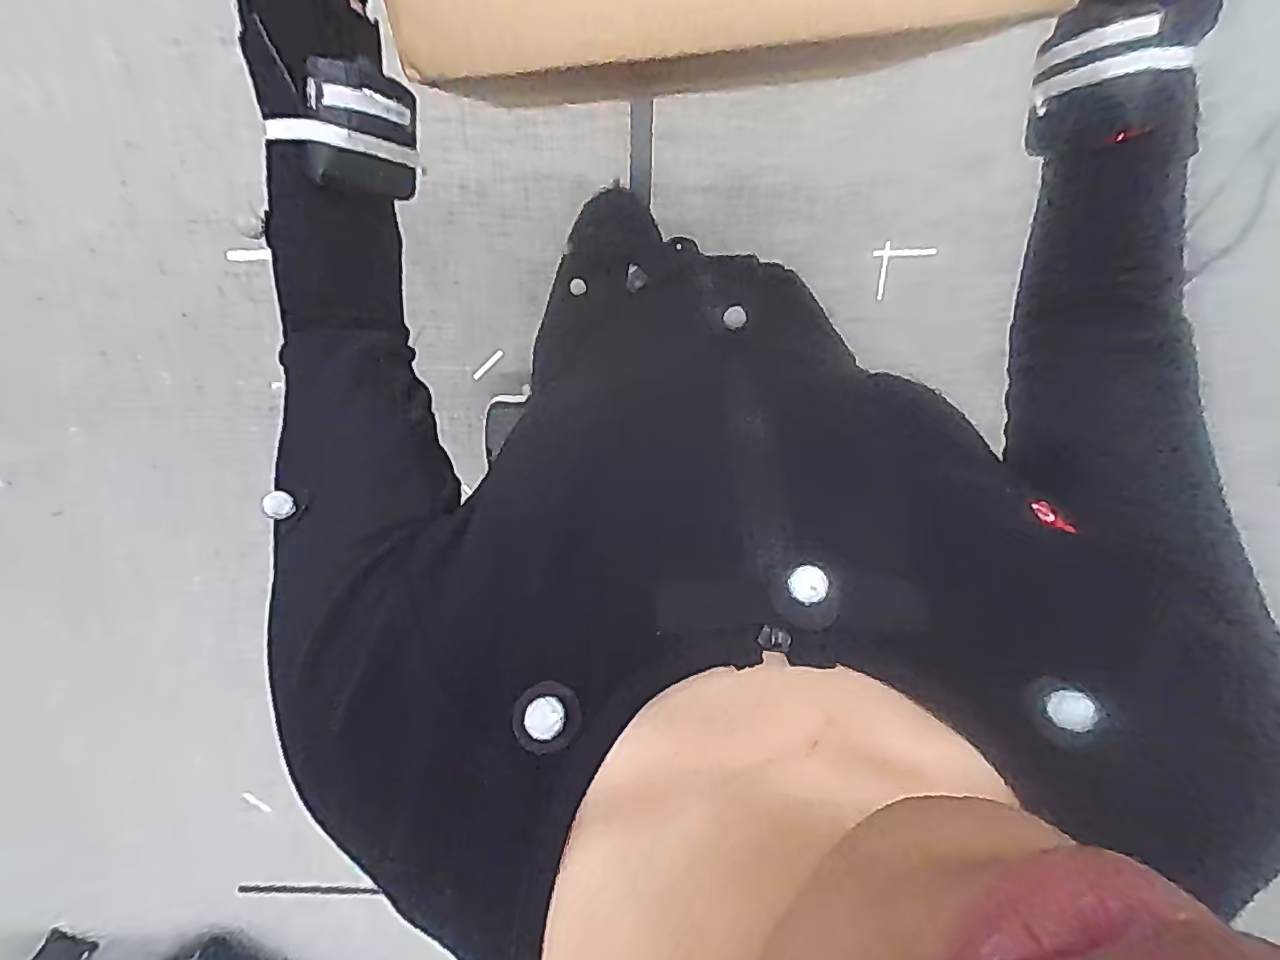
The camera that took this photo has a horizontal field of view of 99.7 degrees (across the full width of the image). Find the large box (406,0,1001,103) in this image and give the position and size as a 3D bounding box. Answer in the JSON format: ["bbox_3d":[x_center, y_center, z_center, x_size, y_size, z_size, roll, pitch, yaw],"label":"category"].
[{"bbox_3d":[0.037,-0.485,0.379,0.408,0.320,0.320,-6,123,1],"label":"large box"}]
